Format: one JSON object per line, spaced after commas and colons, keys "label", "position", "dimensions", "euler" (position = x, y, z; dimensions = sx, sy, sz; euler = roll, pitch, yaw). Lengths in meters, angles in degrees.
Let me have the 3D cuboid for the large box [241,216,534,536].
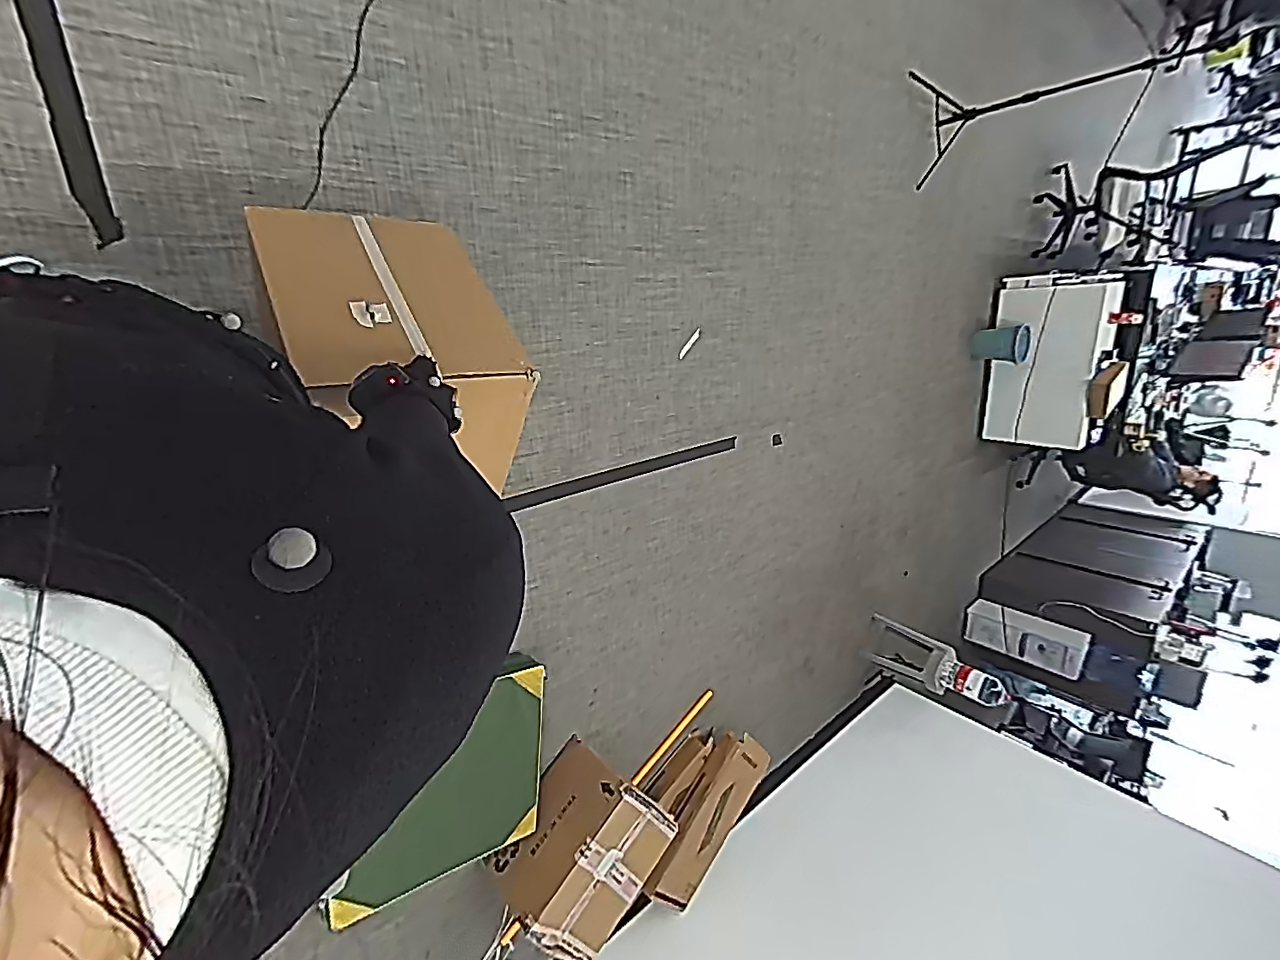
{"label": "large box", "position": [-0.434, -0.177, 0.914], "dimensions": [0.320, 0.408, 0.320], "euler": [-13, 148, -36]}
